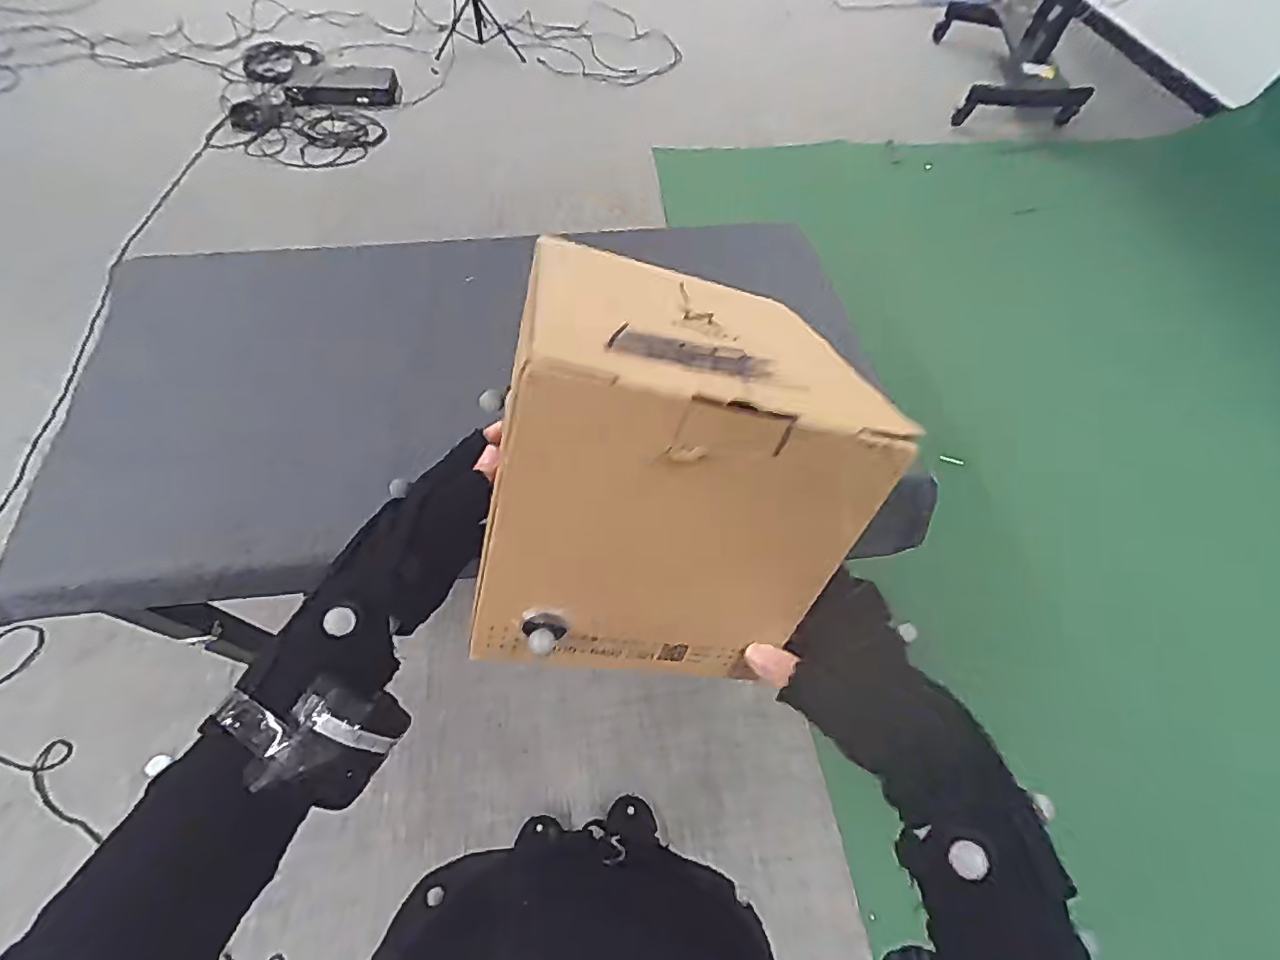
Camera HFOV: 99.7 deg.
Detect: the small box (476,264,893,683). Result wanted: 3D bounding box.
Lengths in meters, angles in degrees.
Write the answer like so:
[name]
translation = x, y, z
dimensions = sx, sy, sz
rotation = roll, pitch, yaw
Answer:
[small box]
translation = 0.003, -0.002, 0.325
dimensions = 0.168, 0.176, 0.179
rotation = 11, 34, -15
